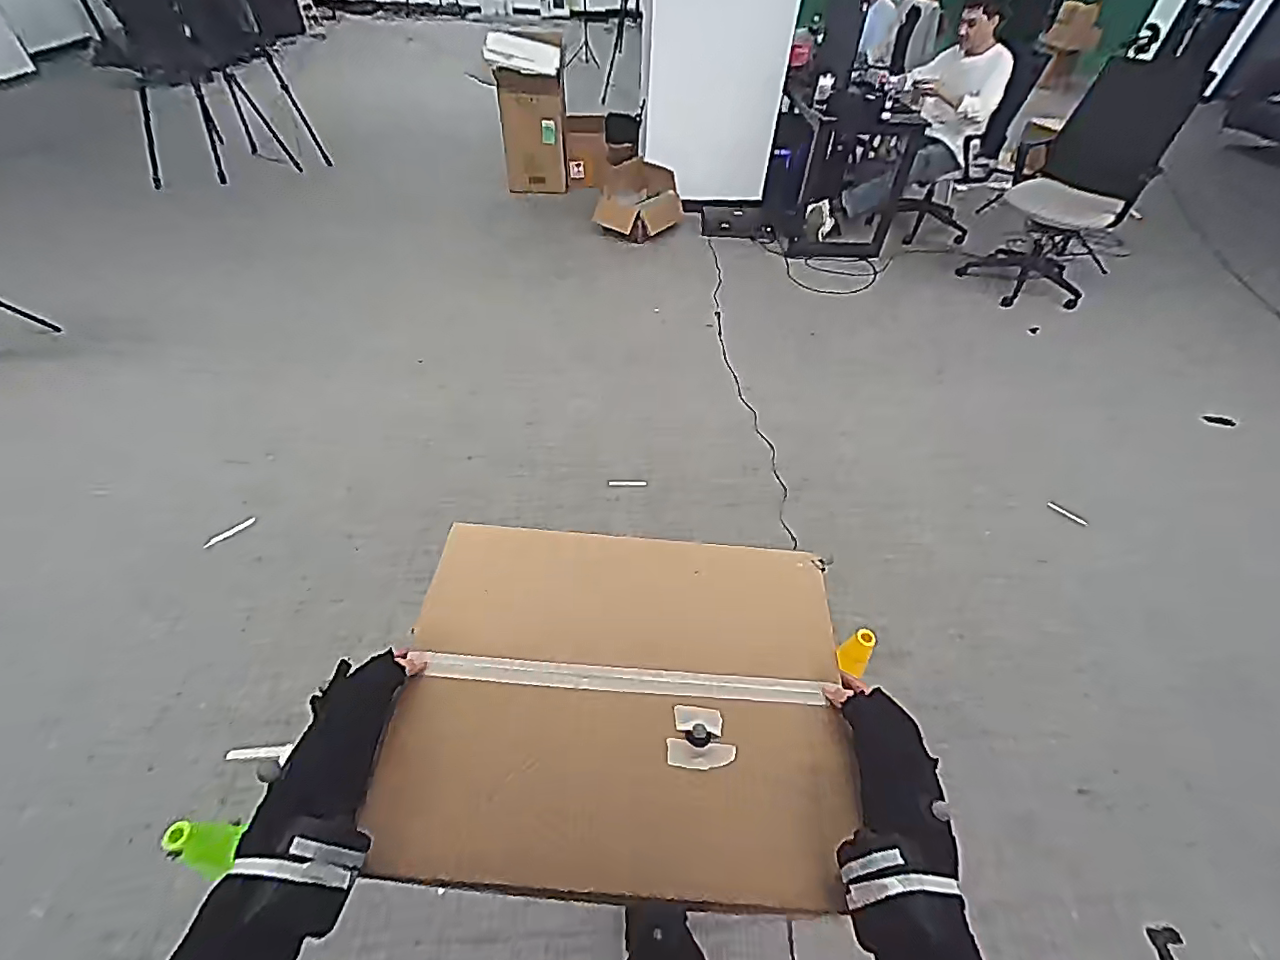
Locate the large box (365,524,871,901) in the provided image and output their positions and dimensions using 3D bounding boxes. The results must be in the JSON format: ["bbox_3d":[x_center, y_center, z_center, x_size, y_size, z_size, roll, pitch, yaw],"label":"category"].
[{"bbox_3d":[-0.020,0.276,0.624,0.408,0.320,0.320,5,51,-1],"label":"large box"}]

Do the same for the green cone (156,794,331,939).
[{"bbox_3d":[-0.798,0.716,1.051,0.202,0.368,0.200,-31,55,-26],"label":"green cone"}]
